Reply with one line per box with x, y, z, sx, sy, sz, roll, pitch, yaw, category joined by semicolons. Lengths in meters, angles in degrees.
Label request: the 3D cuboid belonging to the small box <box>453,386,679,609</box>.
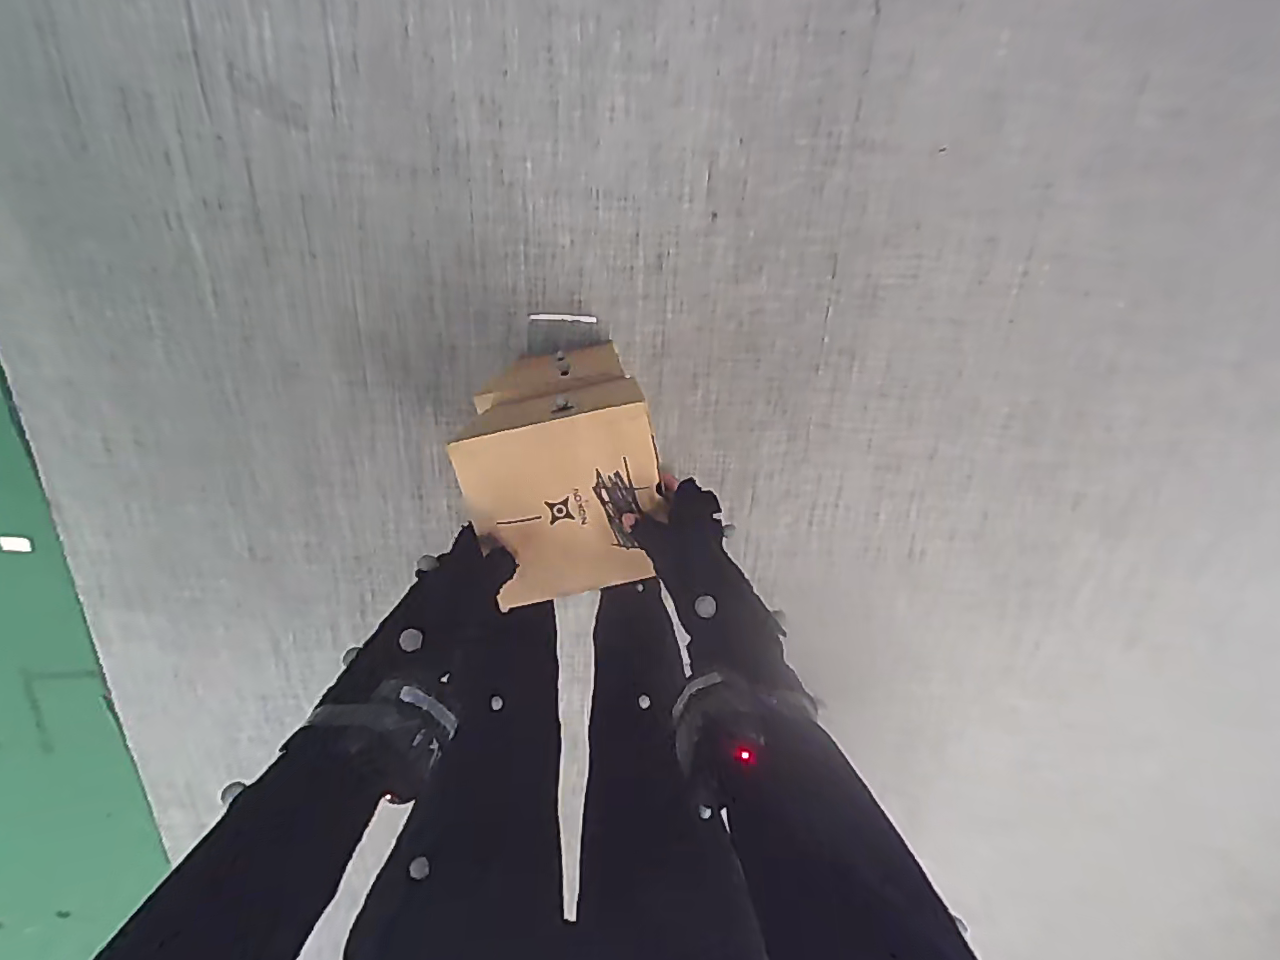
-0.067;0.006;0.562;0.179;0.176;0.168;-12;107;1;small box

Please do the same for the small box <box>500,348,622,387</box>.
-0.108;-0.111;0.875;0.179;0.176;0.168;-11;110;1;small box

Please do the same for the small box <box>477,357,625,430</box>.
-0.095;-0.058;0.723;0.179;0.176;0.168;-13;112;1;small box
